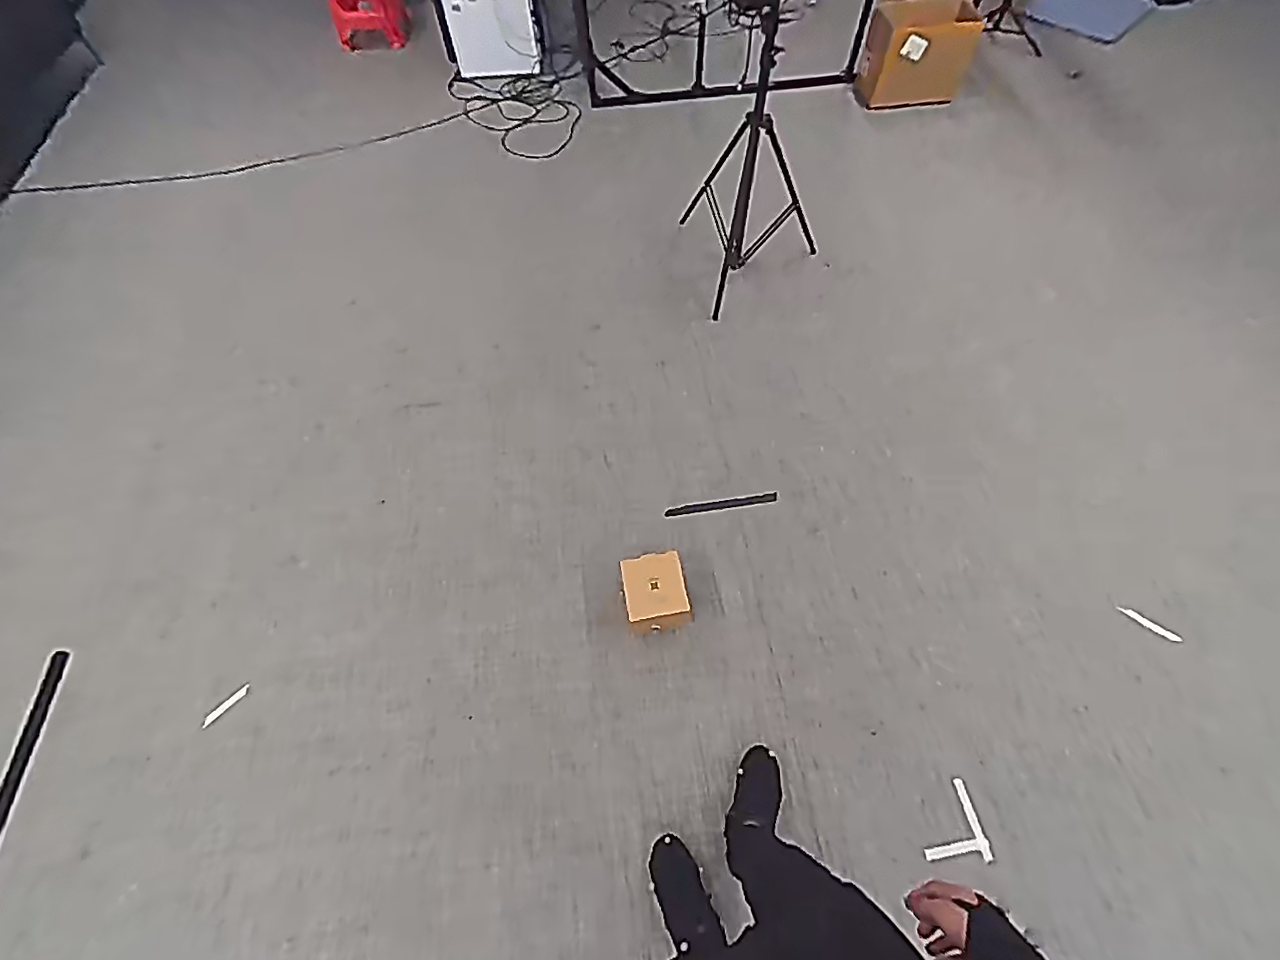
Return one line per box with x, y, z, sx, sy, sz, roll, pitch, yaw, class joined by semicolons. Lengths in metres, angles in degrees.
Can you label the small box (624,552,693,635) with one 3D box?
0.048;0.325;1.535;0.168;0.176;0.179;-10;62;-3;small box
